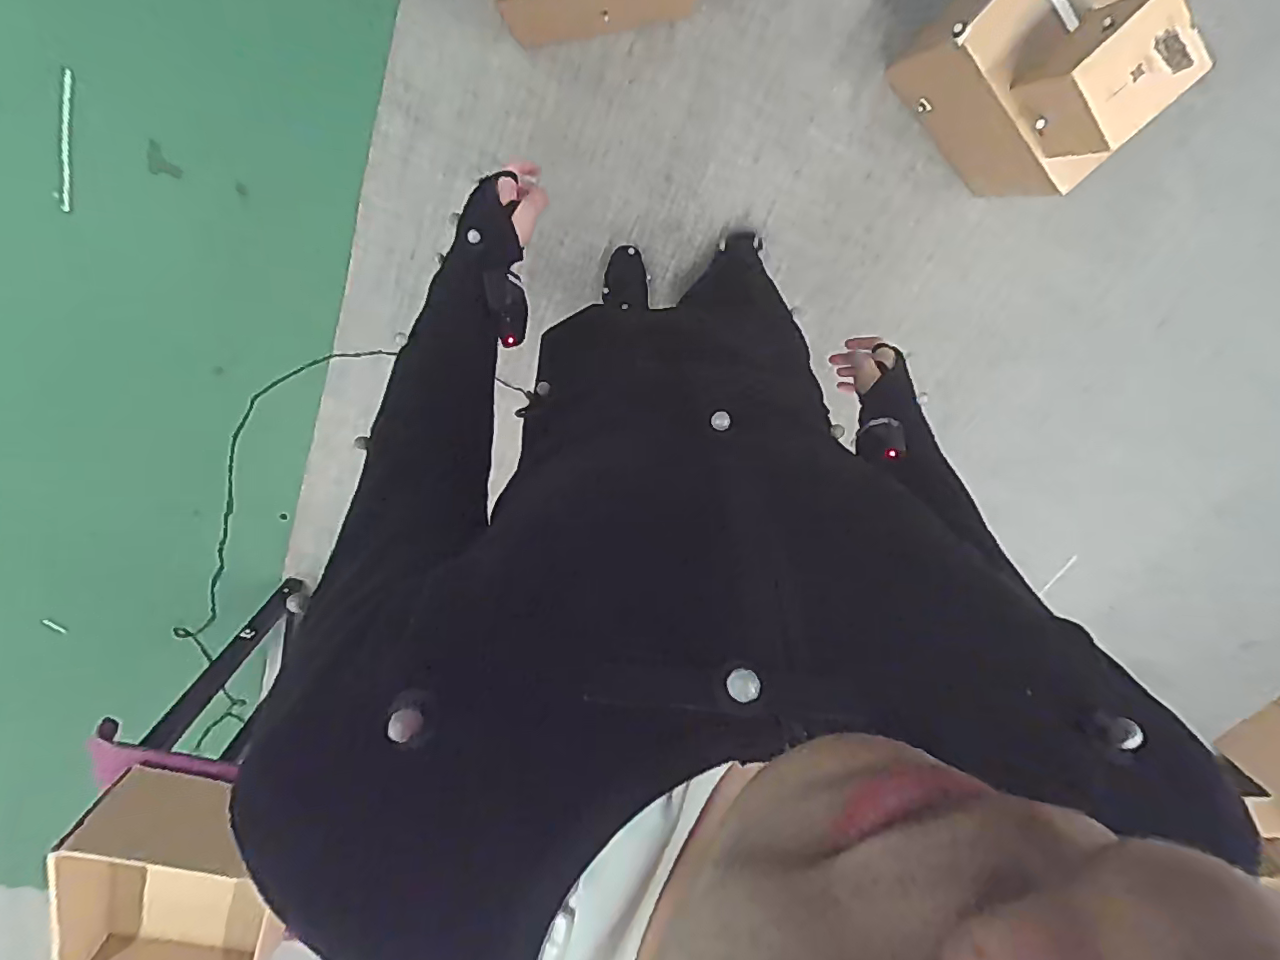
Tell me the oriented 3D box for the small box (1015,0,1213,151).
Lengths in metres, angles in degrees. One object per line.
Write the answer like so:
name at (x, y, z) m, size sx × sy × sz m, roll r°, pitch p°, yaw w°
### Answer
small box at (0.830, -0.724, 0.963) m, size 0.168 × 0.176 × 0.179 m, roll 41°, pitch 110°, yaw -20°

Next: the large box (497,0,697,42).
large box at (-0.092, -1.091, 1.020) m, size 0.408 × 0.320 × 0.320 m, roll -8°, pitch 115°, yaw 3°
